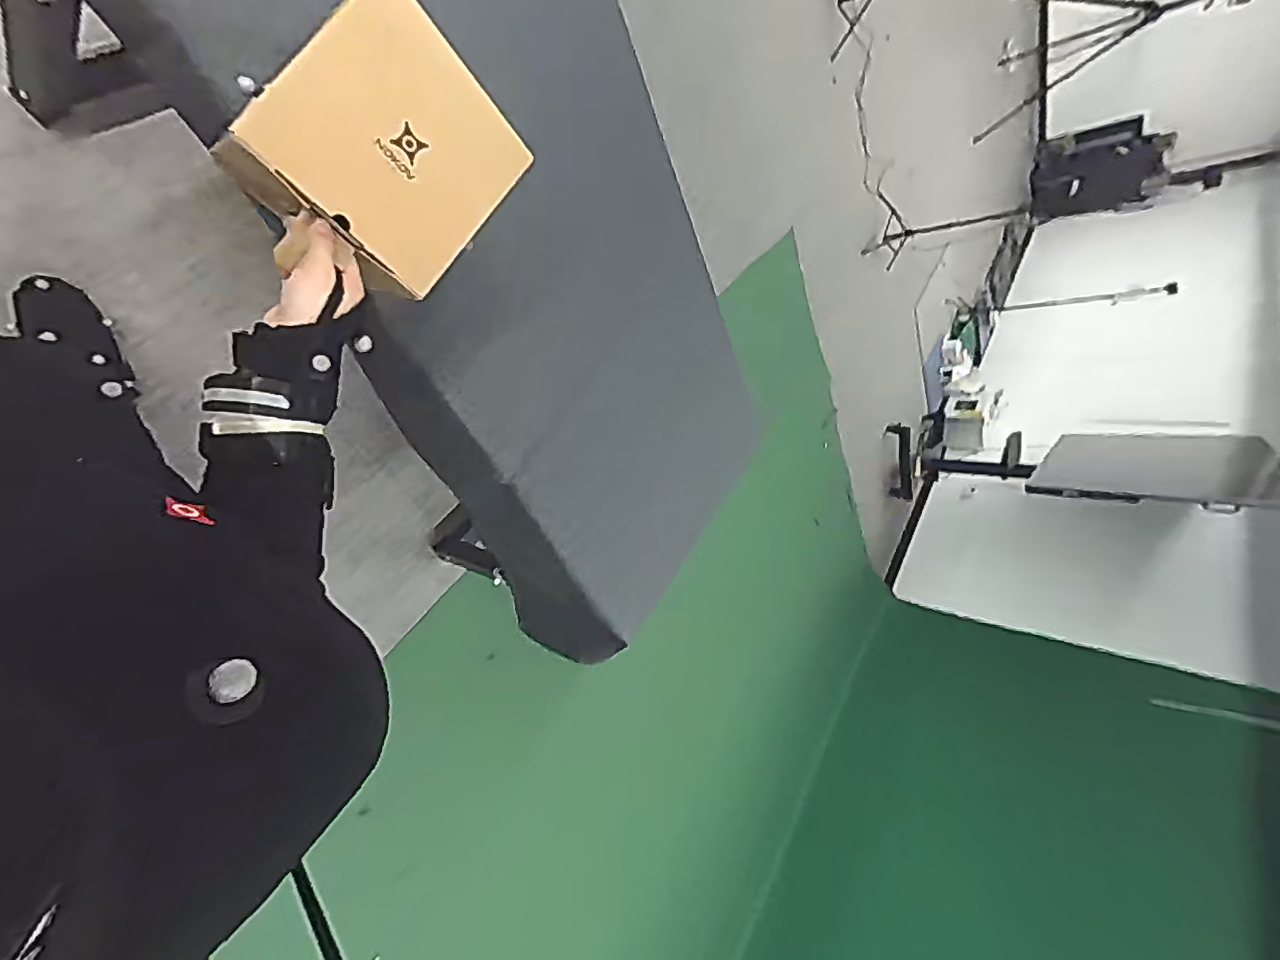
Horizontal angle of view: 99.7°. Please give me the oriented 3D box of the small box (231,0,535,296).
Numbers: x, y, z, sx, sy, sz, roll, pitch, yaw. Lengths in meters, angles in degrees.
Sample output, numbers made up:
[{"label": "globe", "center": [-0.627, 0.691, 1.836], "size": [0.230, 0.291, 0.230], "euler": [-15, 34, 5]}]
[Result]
[{"label": "small box", "center": [-0.239, -0.301, 0.500], "size": [0.179, 0.176, 0.168], "euler": [-55, 135, -7]}]
